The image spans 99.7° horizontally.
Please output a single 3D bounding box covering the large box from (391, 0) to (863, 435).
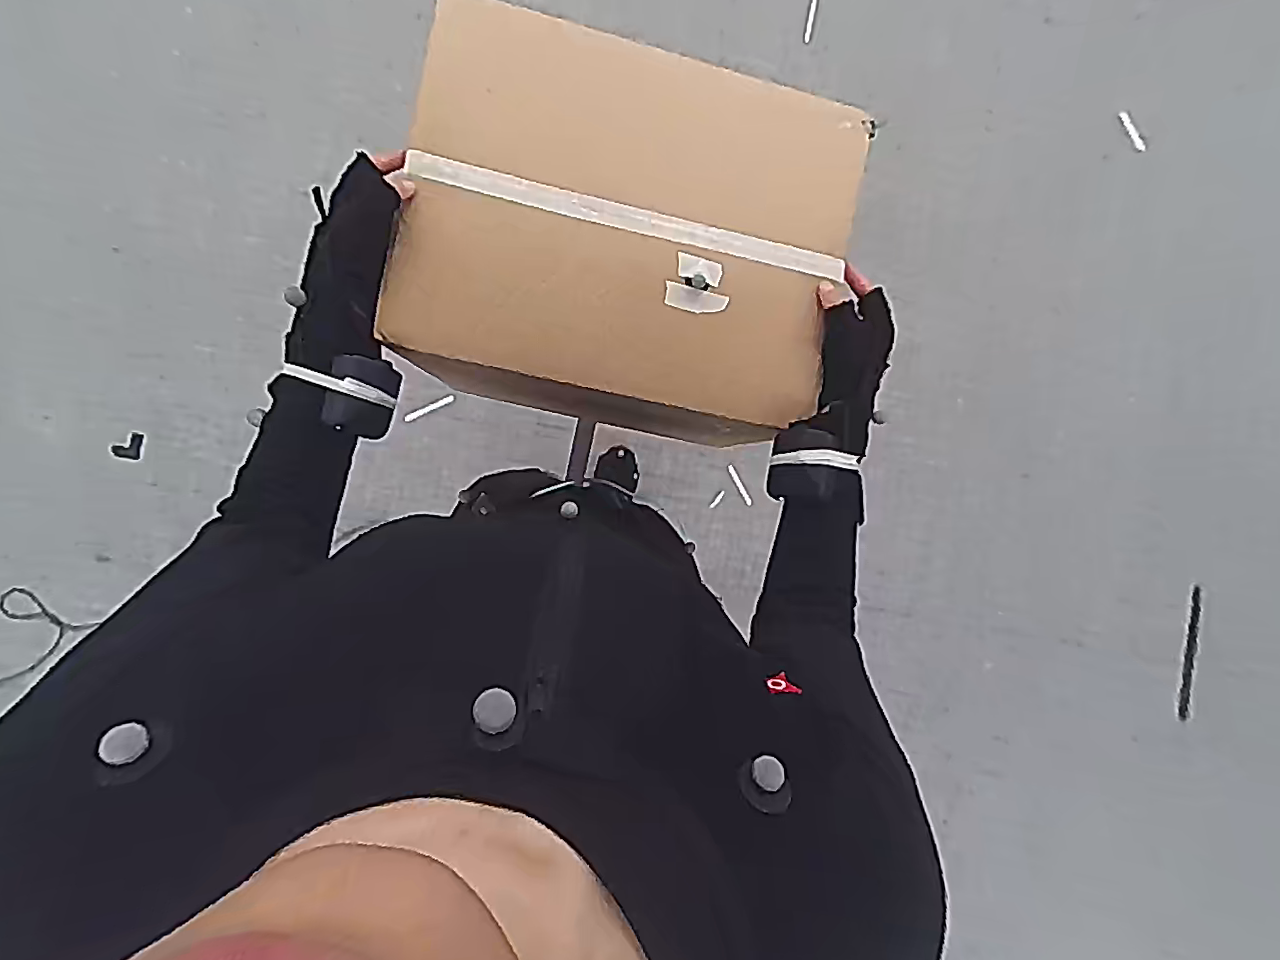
[{"bbox_3d":[-0.023,-0.246,0.647,0.408,0.320,0.320,11,91,-8],"label":"large box"}]
